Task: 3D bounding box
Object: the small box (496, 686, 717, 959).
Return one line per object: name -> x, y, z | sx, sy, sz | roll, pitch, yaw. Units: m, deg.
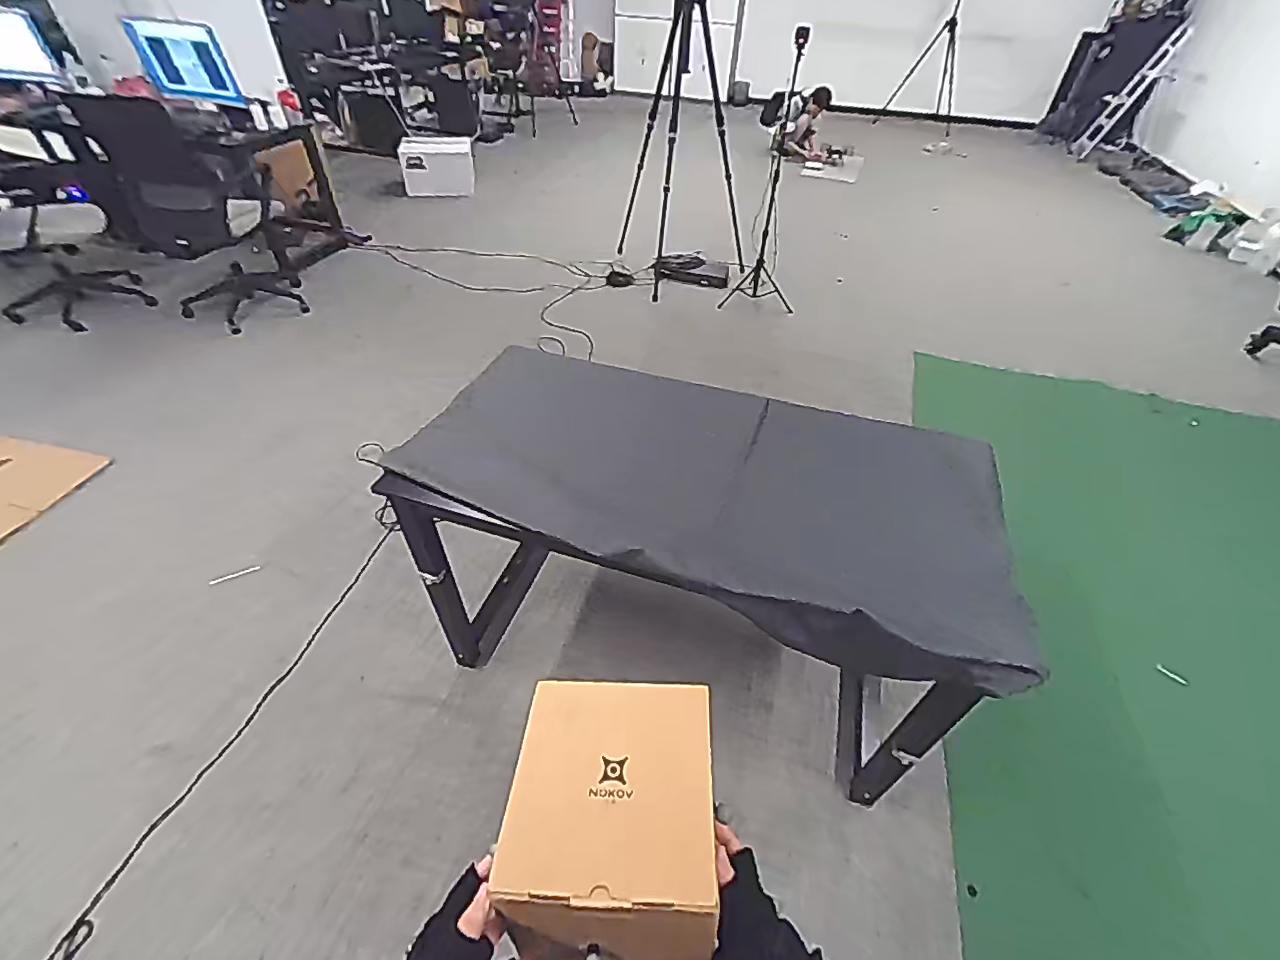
small box -> -0.019, 0.320, 0.505 | 0.168, 0.176, 0.179 | 0, 37, 4
